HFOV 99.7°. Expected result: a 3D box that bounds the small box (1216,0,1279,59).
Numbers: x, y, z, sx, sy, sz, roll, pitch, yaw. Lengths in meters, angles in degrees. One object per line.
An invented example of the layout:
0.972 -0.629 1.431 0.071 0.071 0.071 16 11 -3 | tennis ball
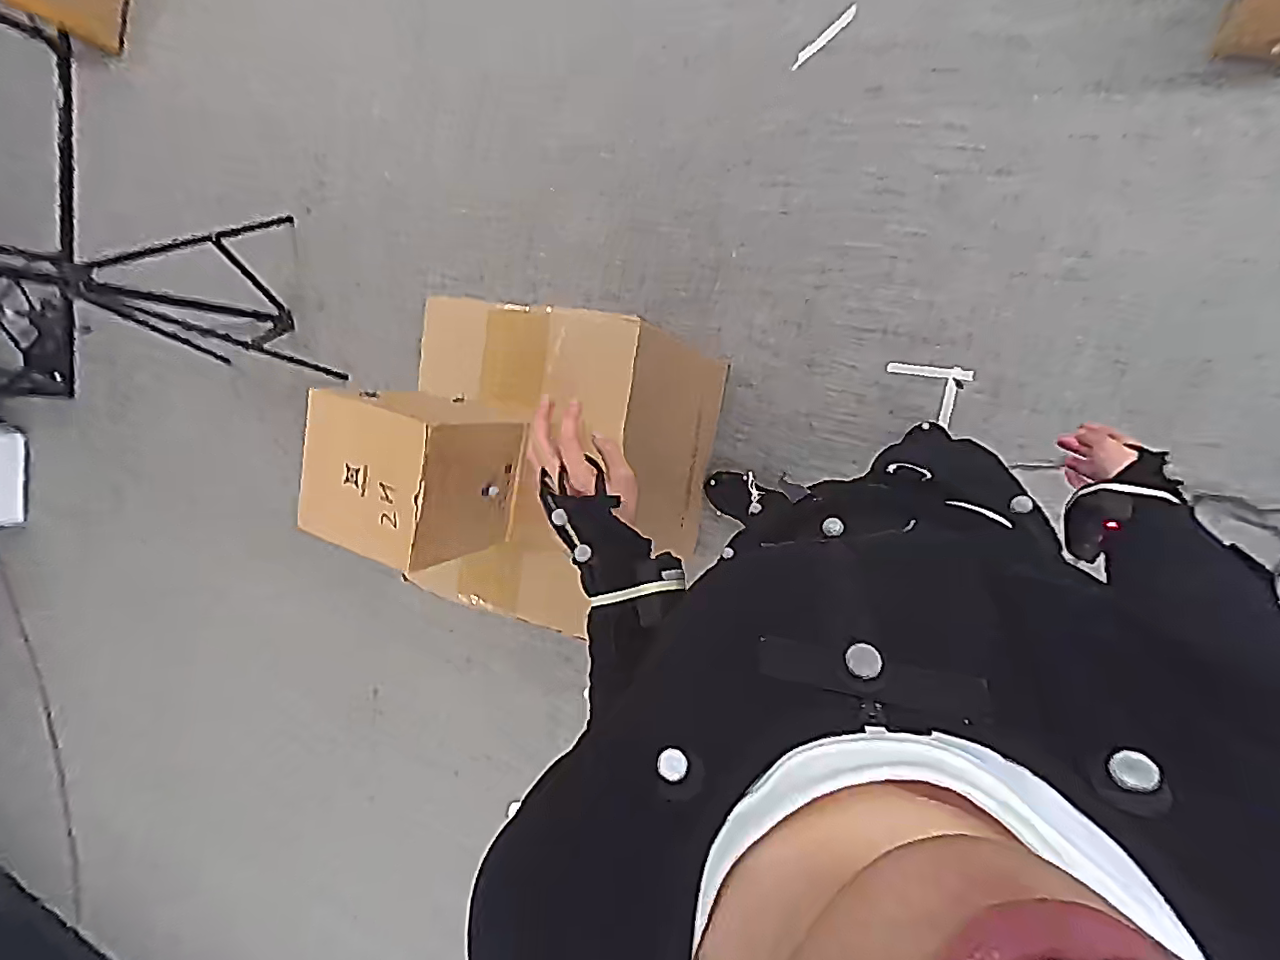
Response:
1.112 -0.831 0.876 0.168 0.176 0.179 21 104 19 | small box

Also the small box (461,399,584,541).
-0.202 -0.026 0.798 0.179 0.176 0.168 14 101 20 | small box

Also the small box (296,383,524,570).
-0.268 -0.013 0.647 0.179 0.176 0.168 16 102 19 | small box
